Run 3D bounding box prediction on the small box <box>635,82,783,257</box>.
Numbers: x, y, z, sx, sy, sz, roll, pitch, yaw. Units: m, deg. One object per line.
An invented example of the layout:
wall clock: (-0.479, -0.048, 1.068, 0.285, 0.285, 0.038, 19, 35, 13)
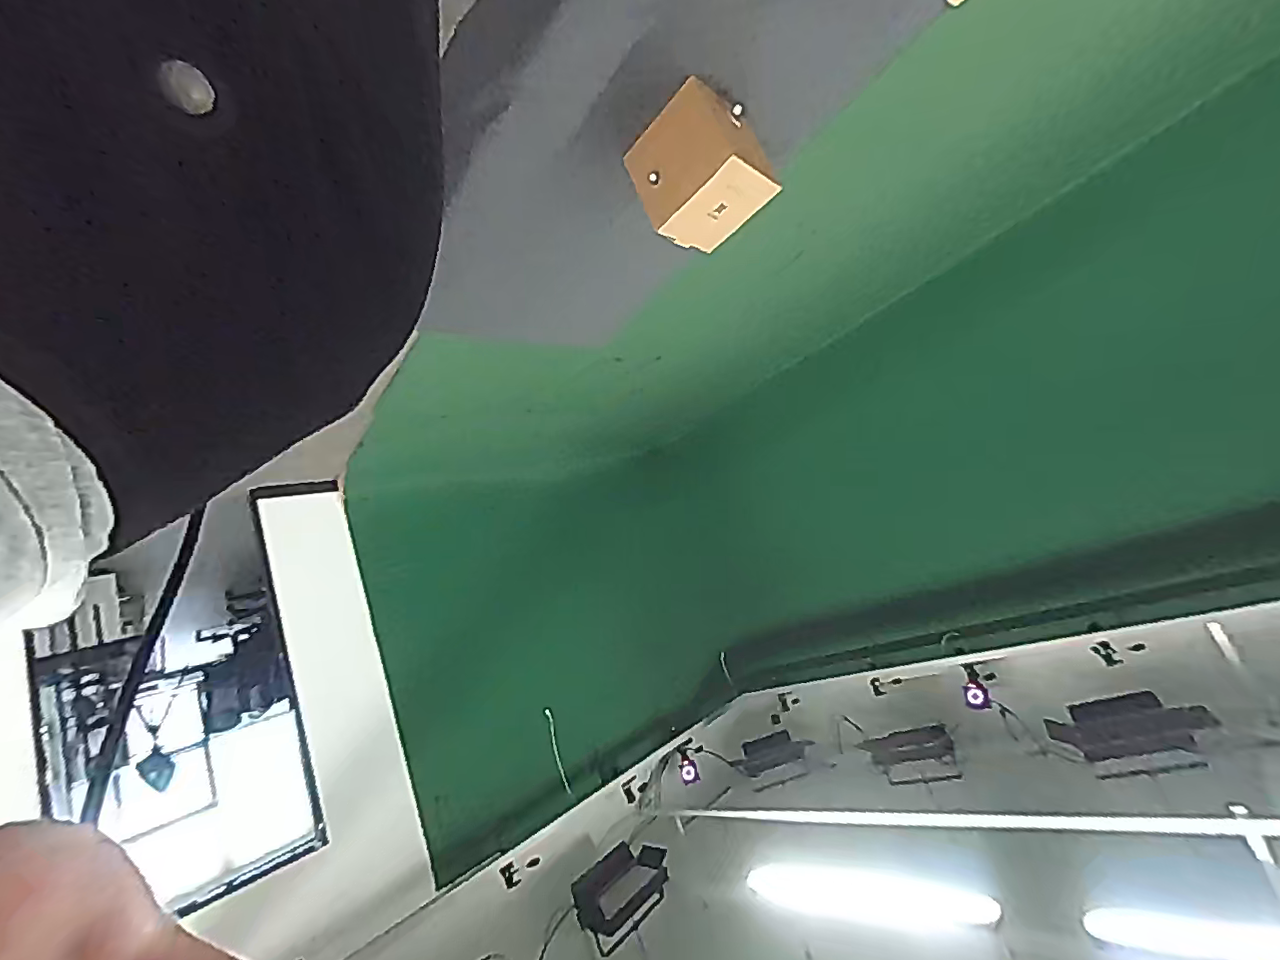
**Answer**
small box: (0.111, -0.531, 0.946, 0.168, 0.176, 0.179, -8, 161, -48)
